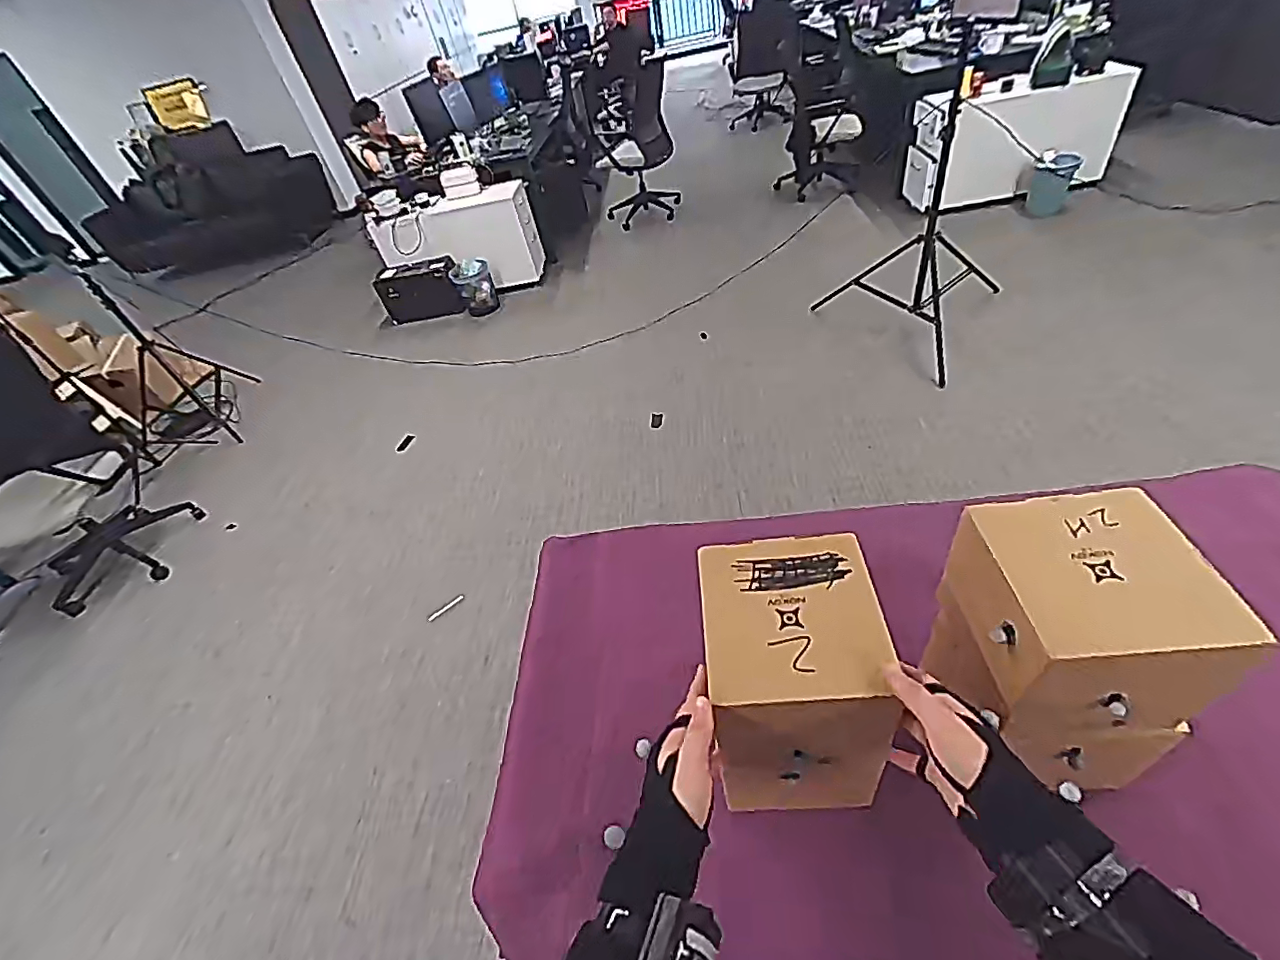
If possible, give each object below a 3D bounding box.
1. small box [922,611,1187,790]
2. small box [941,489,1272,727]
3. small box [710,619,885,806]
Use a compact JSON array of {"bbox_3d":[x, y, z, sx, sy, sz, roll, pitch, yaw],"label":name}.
[{"bbox_3d":[0.469,0.257,0.651,0.179,0.176,0.168,-7,43,9],"label":"small box"},{"bbox_3d":[0.432,0.135,0.546,0.168,0.176,0.179,-7,43,8],"label":"small box"},{"bbox_3d":[0.188,0.296,0.683,0.179,0.176,0.168,-6,44,7],"label":"small box"}]
